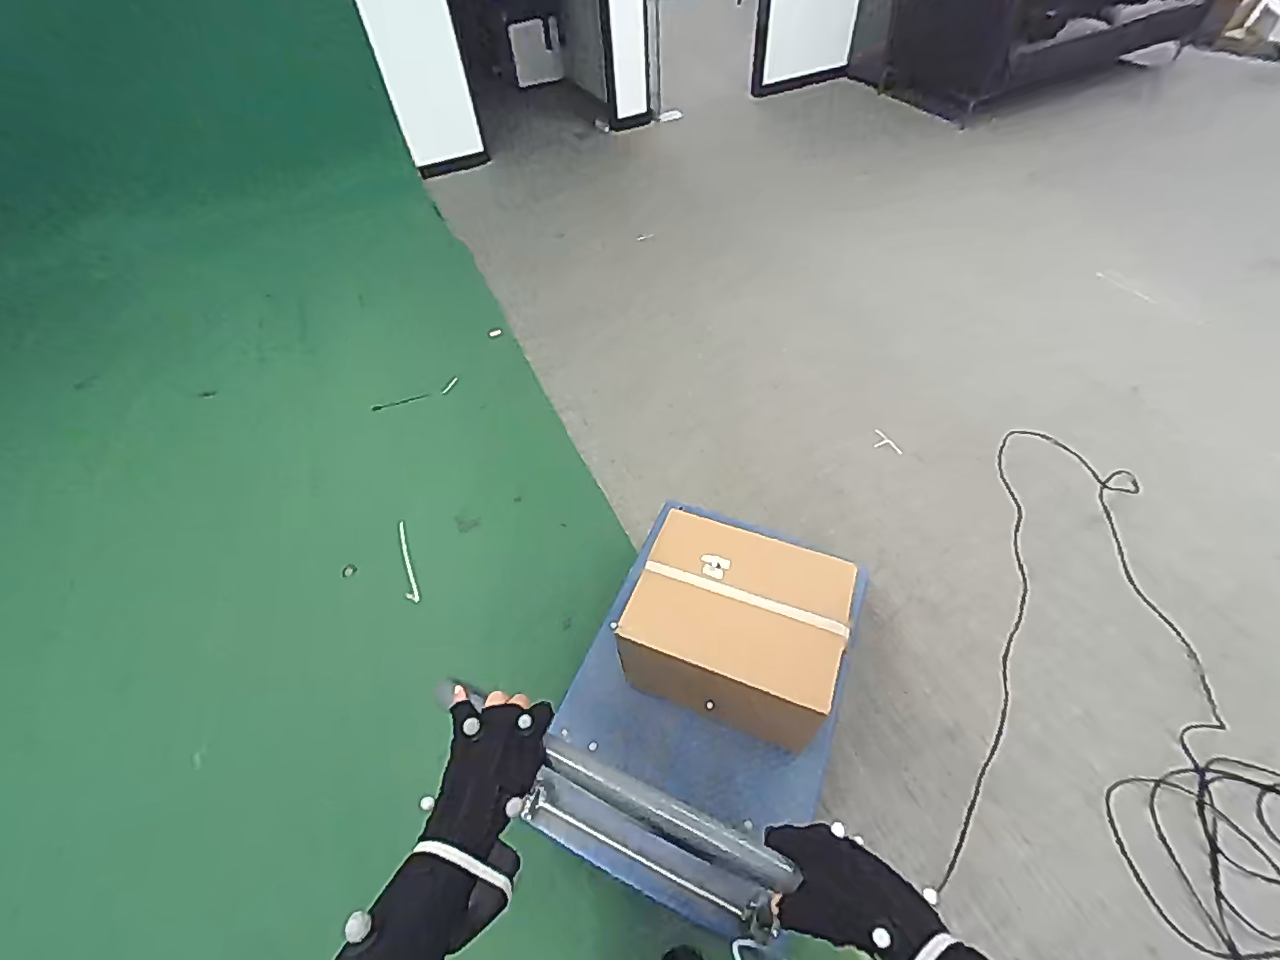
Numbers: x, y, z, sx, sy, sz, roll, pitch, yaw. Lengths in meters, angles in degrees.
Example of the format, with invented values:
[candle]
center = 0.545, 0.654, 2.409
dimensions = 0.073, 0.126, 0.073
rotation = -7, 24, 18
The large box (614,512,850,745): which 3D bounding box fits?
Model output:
[large box]
center = 0.200, 0.322, 1.179
dimensions = 0.408, 0.320, 0.320
rotation = 16, 54, 17
